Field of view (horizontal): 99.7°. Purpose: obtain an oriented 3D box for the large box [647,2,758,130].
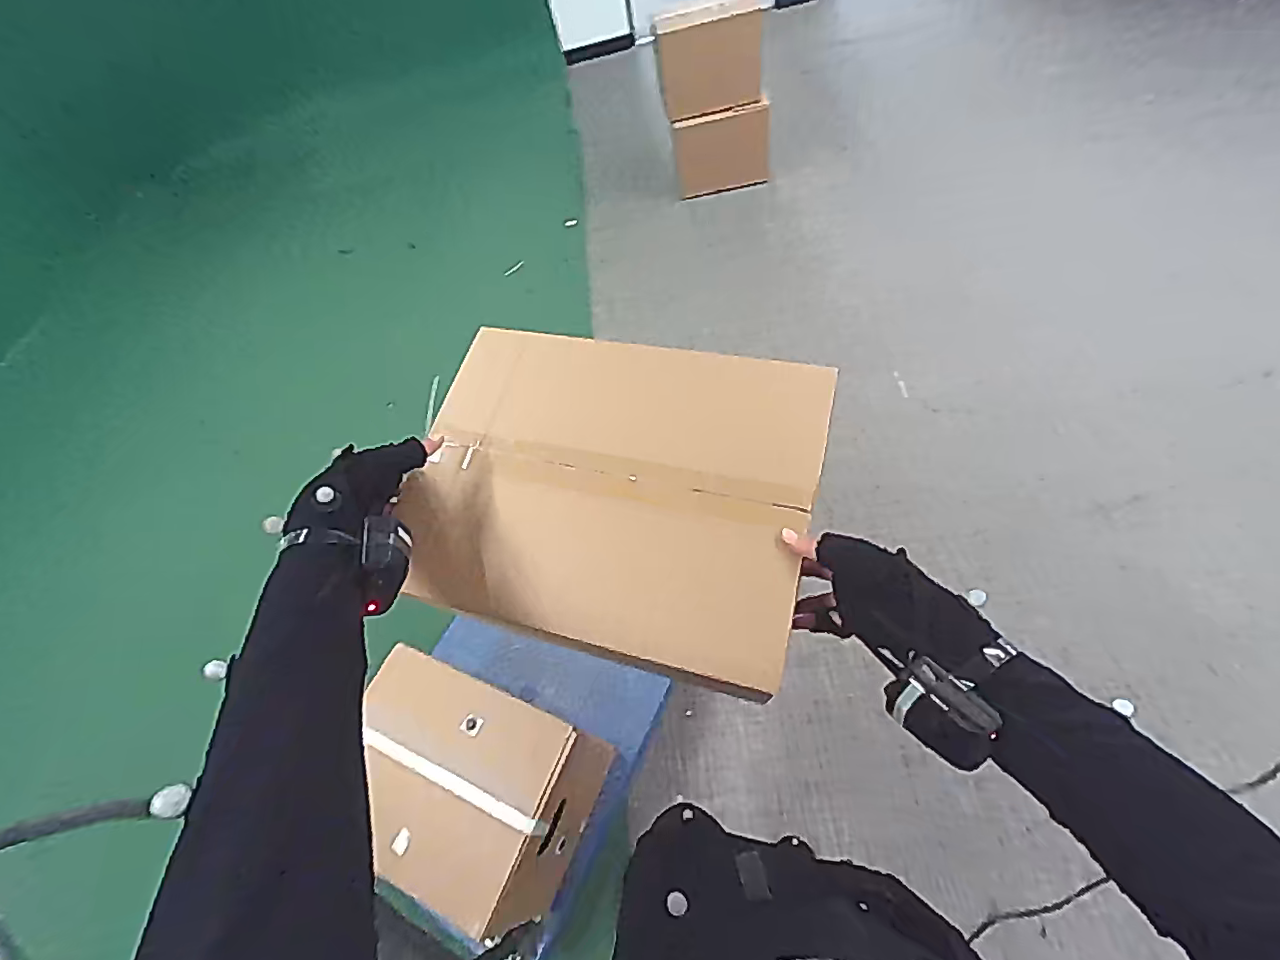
[{"bbox_3d":[0.259,-1.718,2.252,0.408,0.320,0.320,-9,53,5],"label":"large box"}]
